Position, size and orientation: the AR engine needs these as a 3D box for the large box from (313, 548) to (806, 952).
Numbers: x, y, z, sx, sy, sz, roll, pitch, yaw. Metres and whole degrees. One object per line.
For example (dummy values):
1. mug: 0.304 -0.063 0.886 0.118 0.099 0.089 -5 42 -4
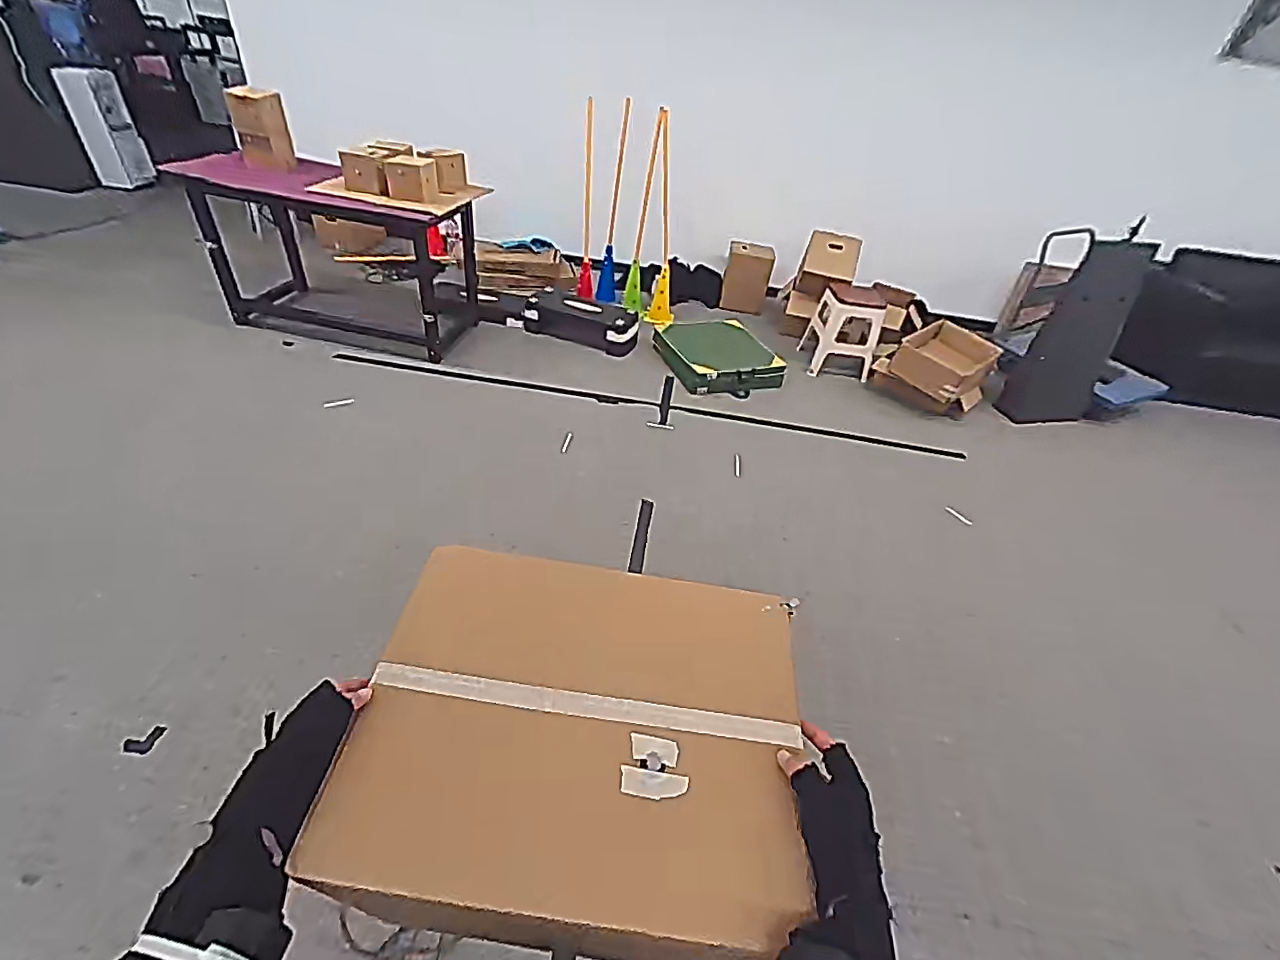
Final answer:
1. large box: -0.066 0.317 0.633 0.408 0.320 0.320 9 47 0
